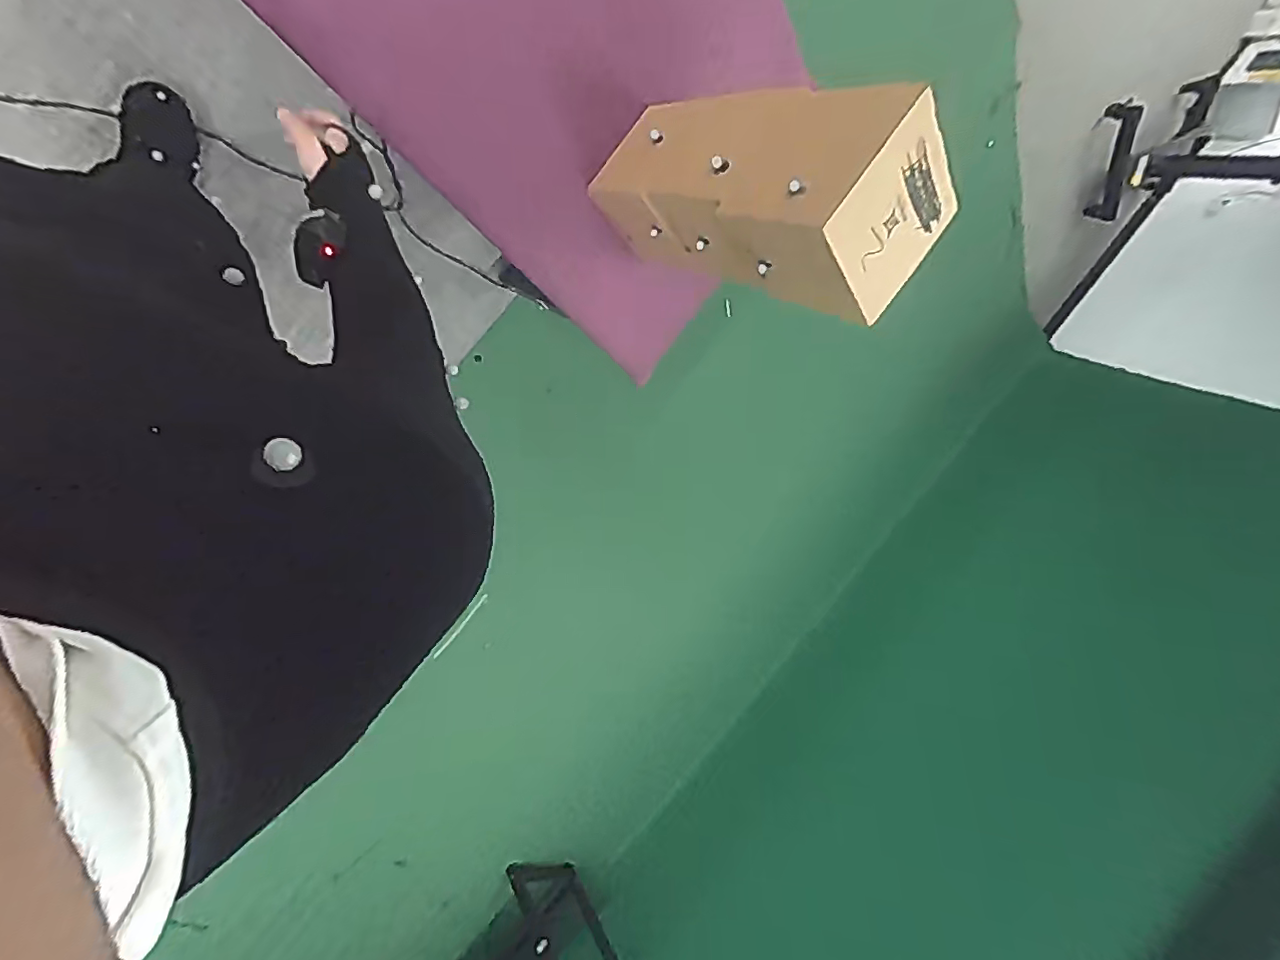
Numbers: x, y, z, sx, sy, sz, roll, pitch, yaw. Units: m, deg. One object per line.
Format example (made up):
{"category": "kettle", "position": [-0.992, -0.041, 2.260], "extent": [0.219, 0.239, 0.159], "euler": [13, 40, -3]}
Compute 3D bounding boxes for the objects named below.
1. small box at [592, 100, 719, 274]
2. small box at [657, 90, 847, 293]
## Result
{"category": "small box", "position": [0.055, -0.468, 0.870], "extent": [0.179, 0.176, 0.168], "euler": [-53, 134, 0]}
{"category": "small box", "position": [0.146, -0.396, 0.753], "extent": [0.179, 0.176, 0.168], "euler": [-52, 135, -1]}
